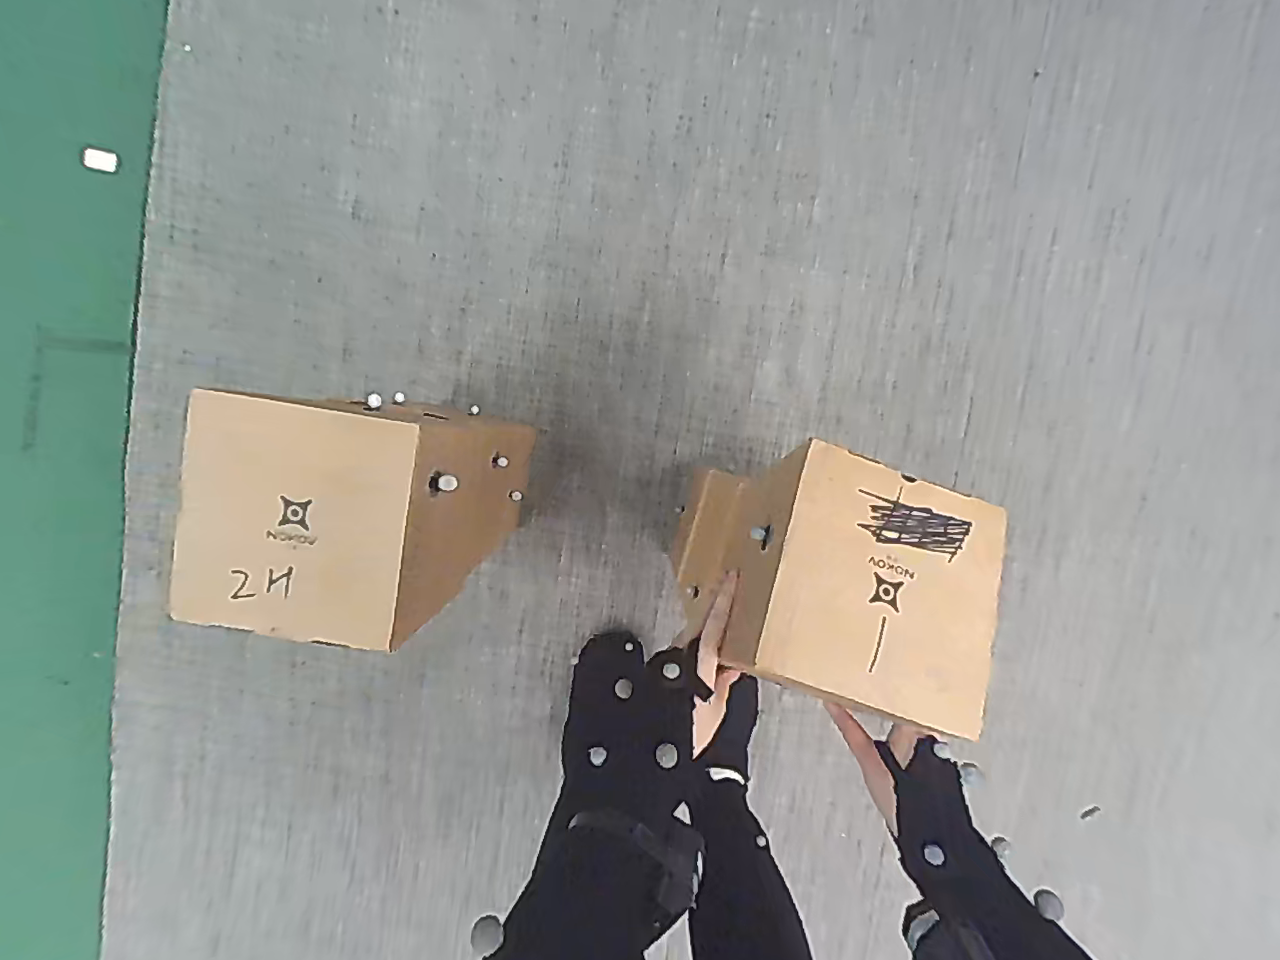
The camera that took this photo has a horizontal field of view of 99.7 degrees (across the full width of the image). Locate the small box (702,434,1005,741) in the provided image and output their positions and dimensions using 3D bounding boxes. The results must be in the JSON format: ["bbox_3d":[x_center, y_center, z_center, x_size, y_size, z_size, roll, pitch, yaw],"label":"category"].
[{"bbox_3d":[0.164,0.090,0.458,0.168,0.176,0.179,19,74,-2],"label":"small box"}]

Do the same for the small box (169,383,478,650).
[{"bbox_3d":[-0.251,0.022,0.471,0.168,0.176,0.179,9,95,0],"label":"small box"}]

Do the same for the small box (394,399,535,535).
[{"bbox_3d":[-0.260,-0.014,0.796,0.168,0.176,0.179,12,96,-2],"label":"small box"}]

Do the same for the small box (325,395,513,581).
[{"bbox_3d":[-0.255,0.003,0.635,0.168,0.176,0.179,9,96,-1],"label":"small box"}]

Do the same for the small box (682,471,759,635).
[{"bbox_3d":[0.154,0.094,0.650,0.168,0.176,0.179,16,95,-2],"label":"small box"}]
